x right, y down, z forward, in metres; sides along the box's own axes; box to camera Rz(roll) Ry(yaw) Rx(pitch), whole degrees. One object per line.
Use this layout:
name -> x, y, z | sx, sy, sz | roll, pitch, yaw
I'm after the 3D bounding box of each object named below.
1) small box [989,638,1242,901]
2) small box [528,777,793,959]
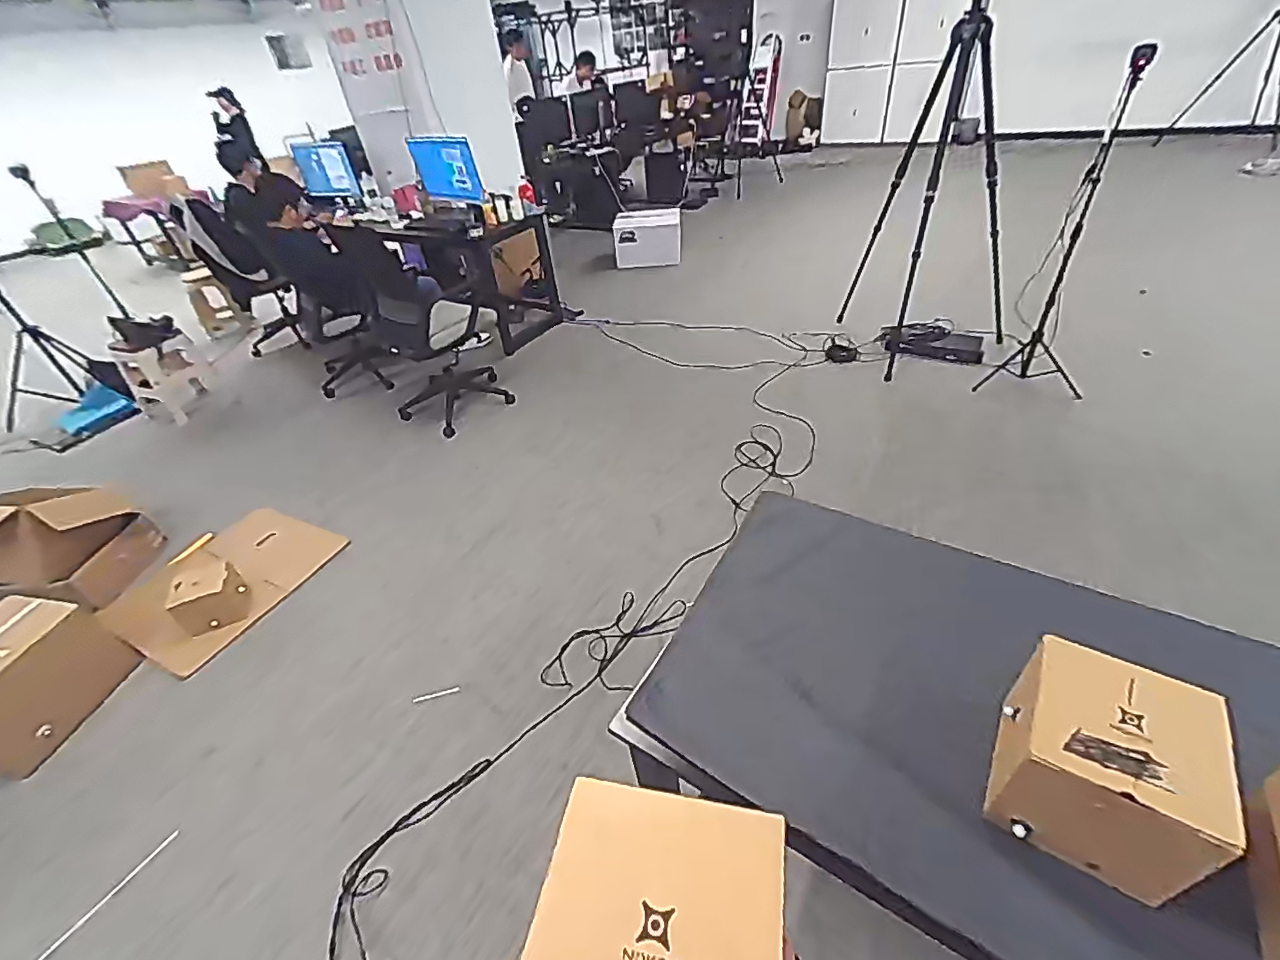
small box -> 0.522, 0.325, 0.617 | 0.168, 0.176, 0.179 | 19, 44, 30
small box -> 0.019, 0.359, 0.398 | 0.168, 0.176, 0.179 | 4, 39, 12
